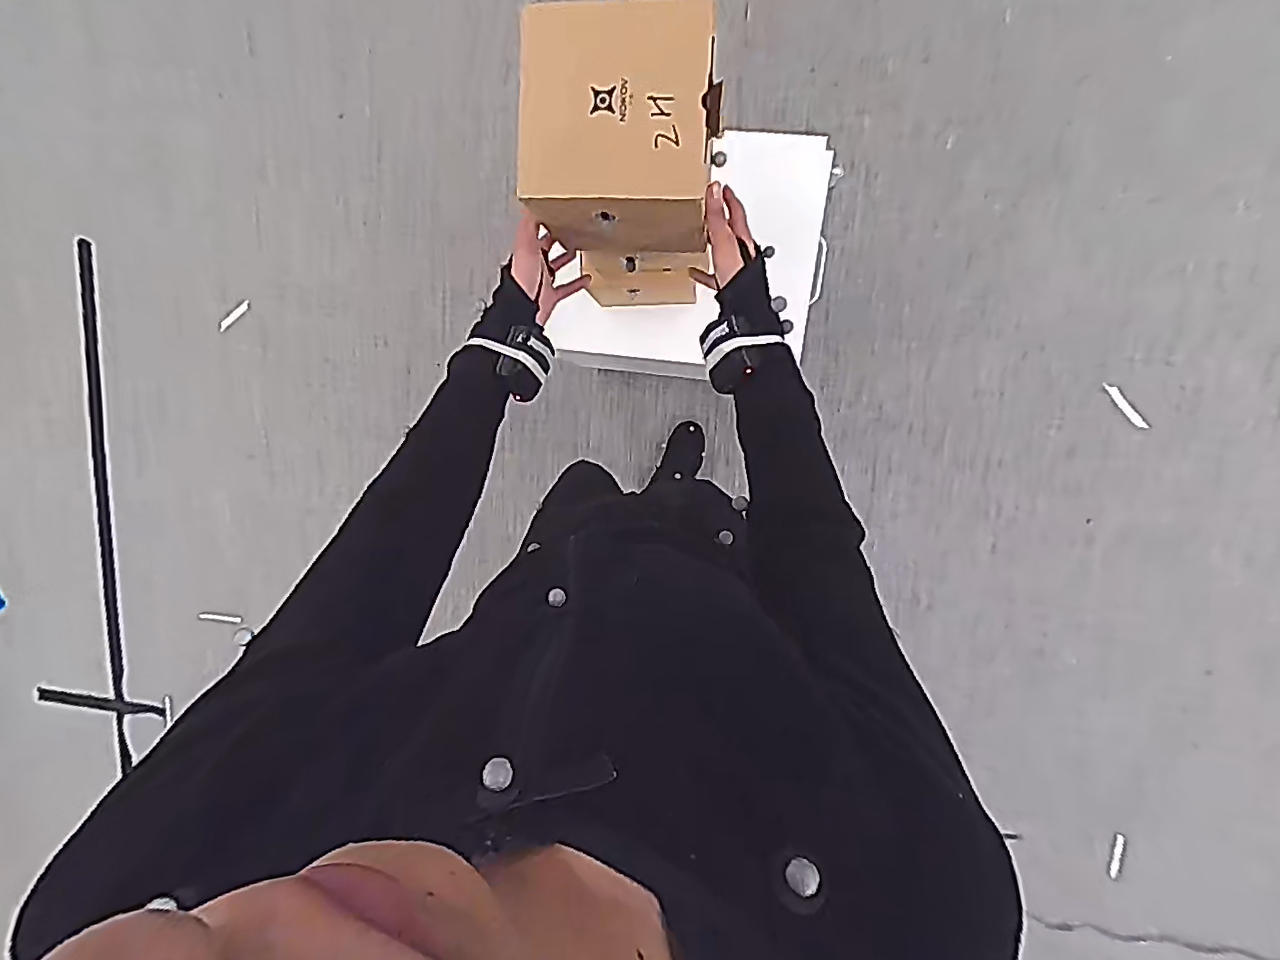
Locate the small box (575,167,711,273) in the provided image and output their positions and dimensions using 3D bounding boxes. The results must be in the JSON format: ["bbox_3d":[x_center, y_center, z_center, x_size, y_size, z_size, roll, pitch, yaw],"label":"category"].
[{"bbox_3d":[0.010,-0.383,0.725,0.168,0.176,0.179,1,97,7],"label":"small box"}]

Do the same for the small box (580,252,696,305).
[{"bbox_3d":[0.003,-0.389,0.889,0.179,0.176,0.168,0,97,6],"label":"small box"}]

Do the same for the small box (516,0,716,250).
[{"bbox_3d":[-0.015,-0.349,0.564,0.179,0.176,0.168,4,98,6],"label":"small box"}]
